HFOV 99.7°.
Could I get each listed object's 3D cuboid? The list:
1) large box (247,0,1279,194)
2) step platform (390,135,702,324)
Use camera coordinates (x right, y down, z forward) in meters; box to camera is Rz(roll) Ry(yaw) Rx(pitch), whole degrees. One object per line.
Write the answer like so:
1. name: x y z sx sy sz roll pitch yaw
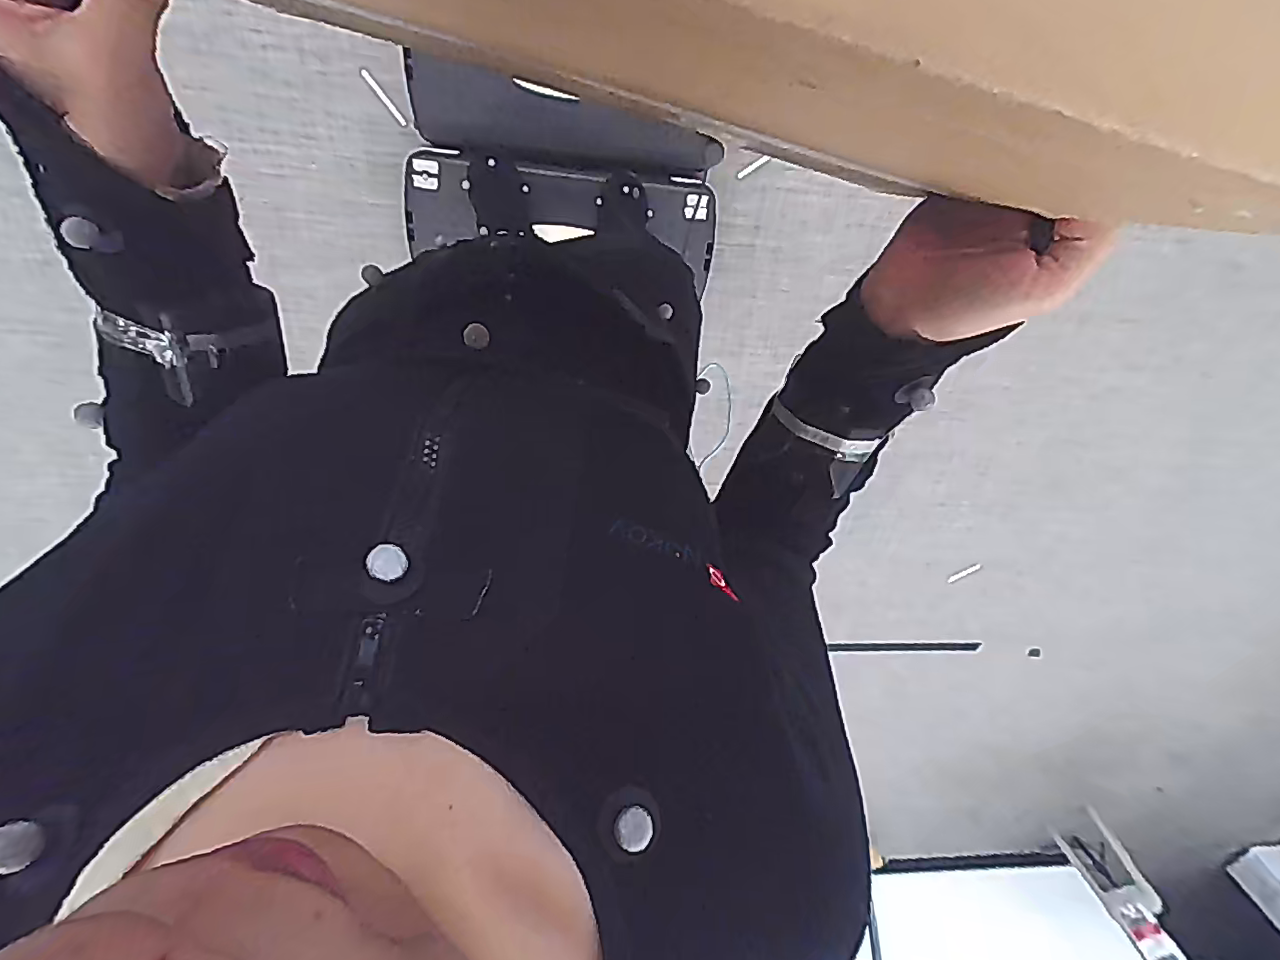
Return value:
1. large box: 0.001 -0.301 0.143 0.408 0.320 0.320 11 122 -6
2. step platform: -0.204 -0.566 1.252 0.684 0.204 0.286 8 121 -8
